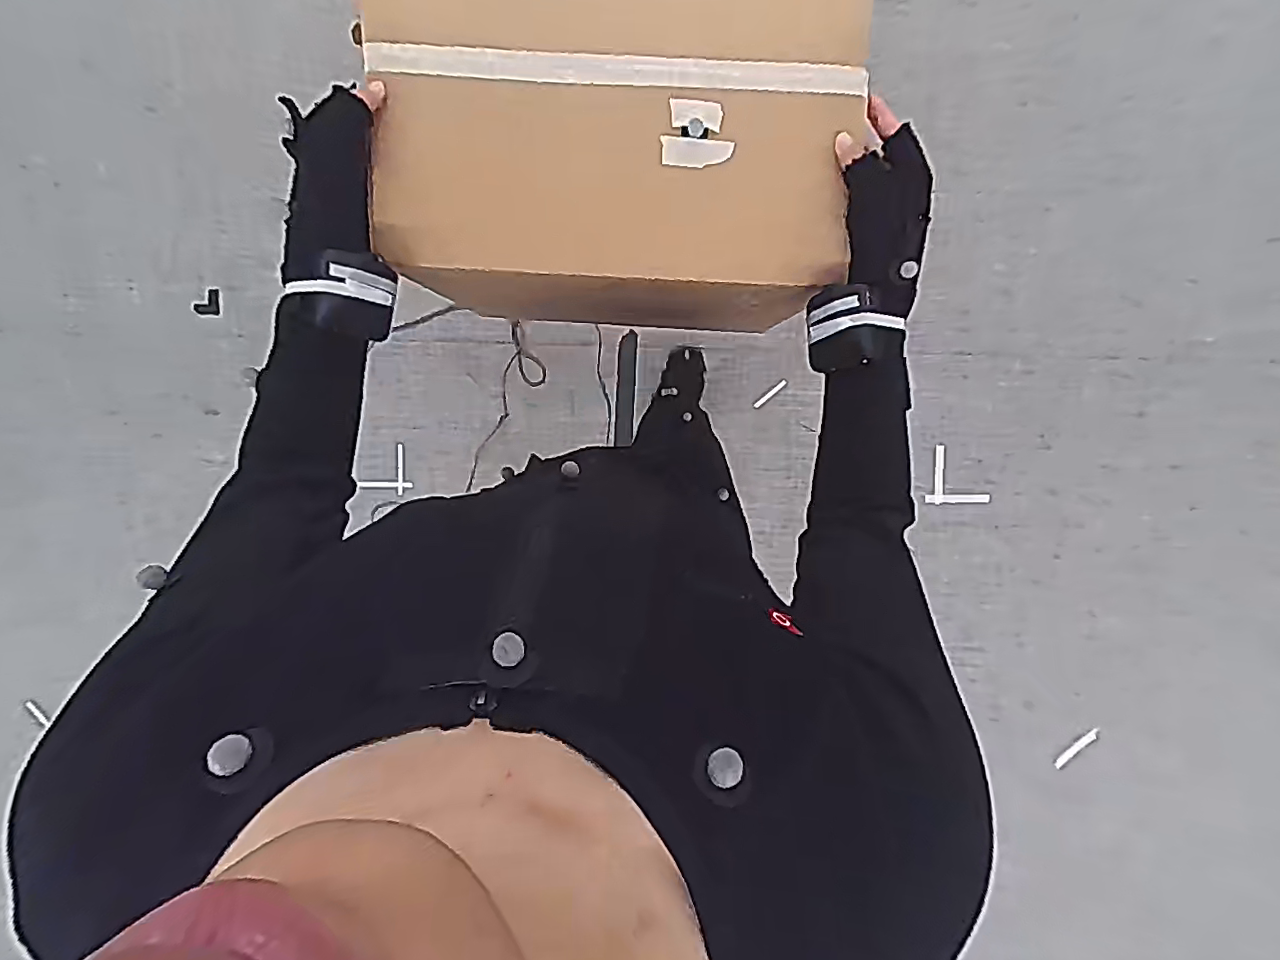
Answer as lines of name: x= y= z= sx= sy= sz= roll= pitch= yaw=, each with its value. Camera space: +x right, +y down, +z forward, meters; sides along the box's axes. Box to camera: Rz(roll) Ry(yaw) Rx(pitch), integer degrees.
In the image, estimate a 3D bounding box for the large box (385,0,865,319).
large box: x=-0.017 y=-0.364 z=0.601 sx=0.408 sy=0.320 sz=0.320 roll=3 pitch=99 yaw=-1
